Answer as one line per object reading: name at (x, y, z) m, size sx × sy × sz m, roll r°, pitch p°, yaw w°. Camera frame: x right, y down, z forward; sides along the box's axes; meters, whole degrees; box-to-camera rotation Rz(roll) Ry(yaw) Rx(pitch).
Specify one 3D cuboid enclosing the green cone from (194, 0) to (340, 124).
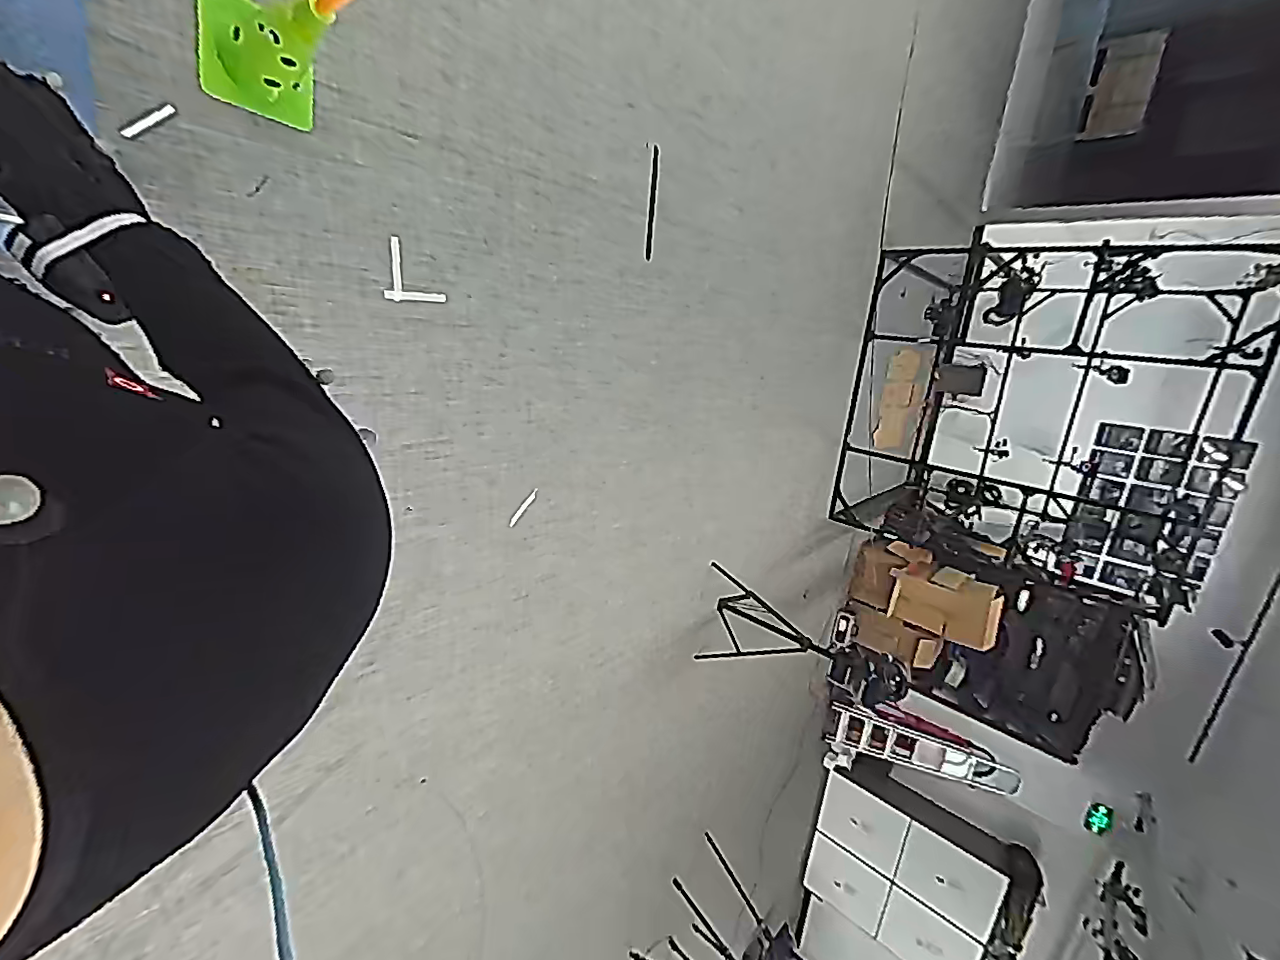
green cone at (-0.659, -0.831, 1.005) m, size 0.202 × 0.368 × 0.200 m, roll -7°, pitch 110°, yaw -50°
